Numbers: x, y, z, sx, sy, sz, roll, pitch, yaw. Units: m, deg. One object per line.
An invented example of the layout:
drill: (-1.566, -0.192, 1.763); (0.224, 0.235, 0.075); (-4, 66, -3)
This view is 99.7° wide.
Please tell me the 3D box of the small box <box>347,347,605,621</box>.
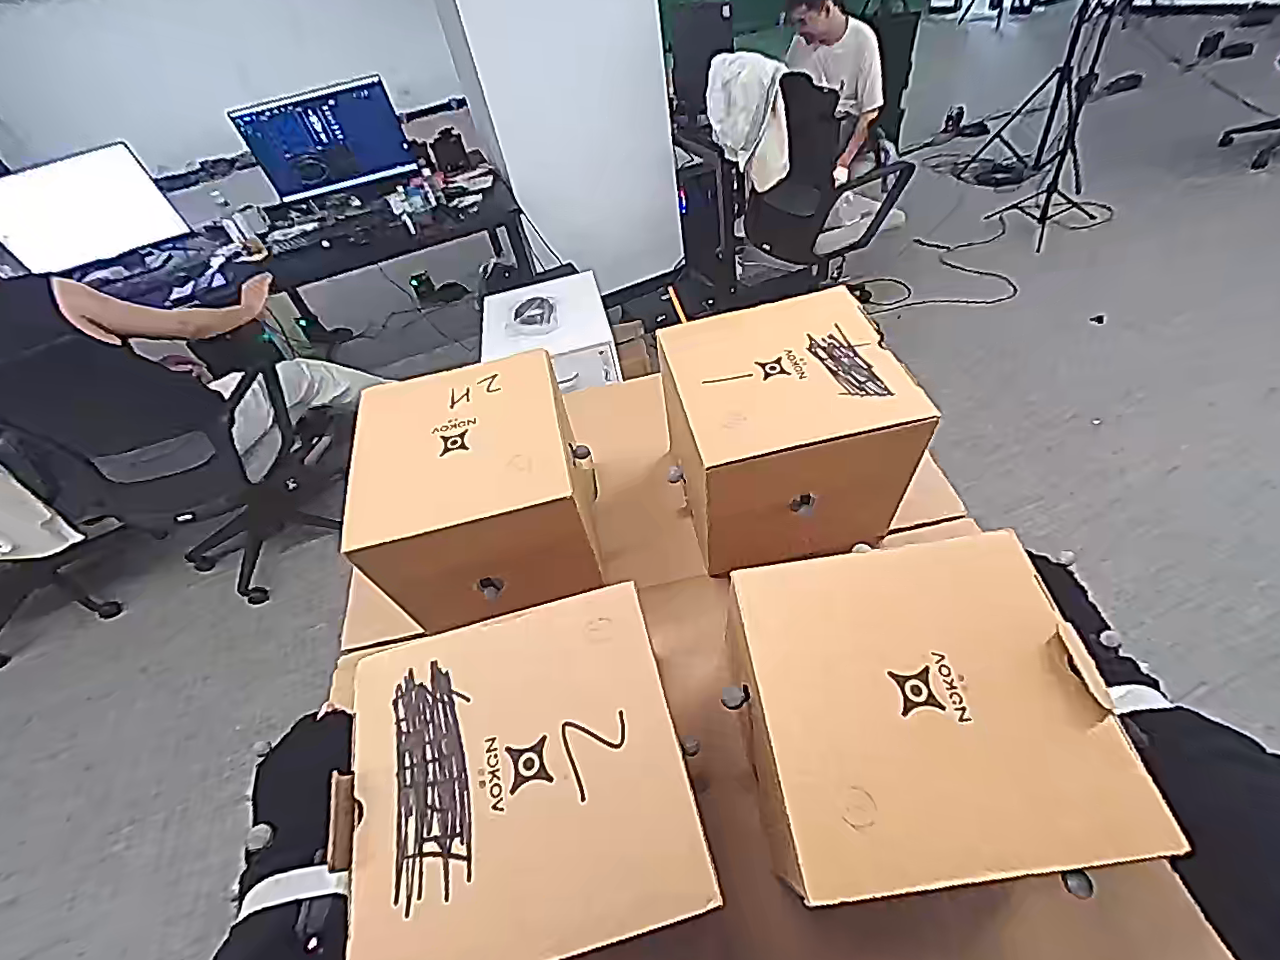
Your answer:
small box: (-0.134, 0.013, 0.494); (0.168, 0.176, 0.179); (-13, 52, -2)
